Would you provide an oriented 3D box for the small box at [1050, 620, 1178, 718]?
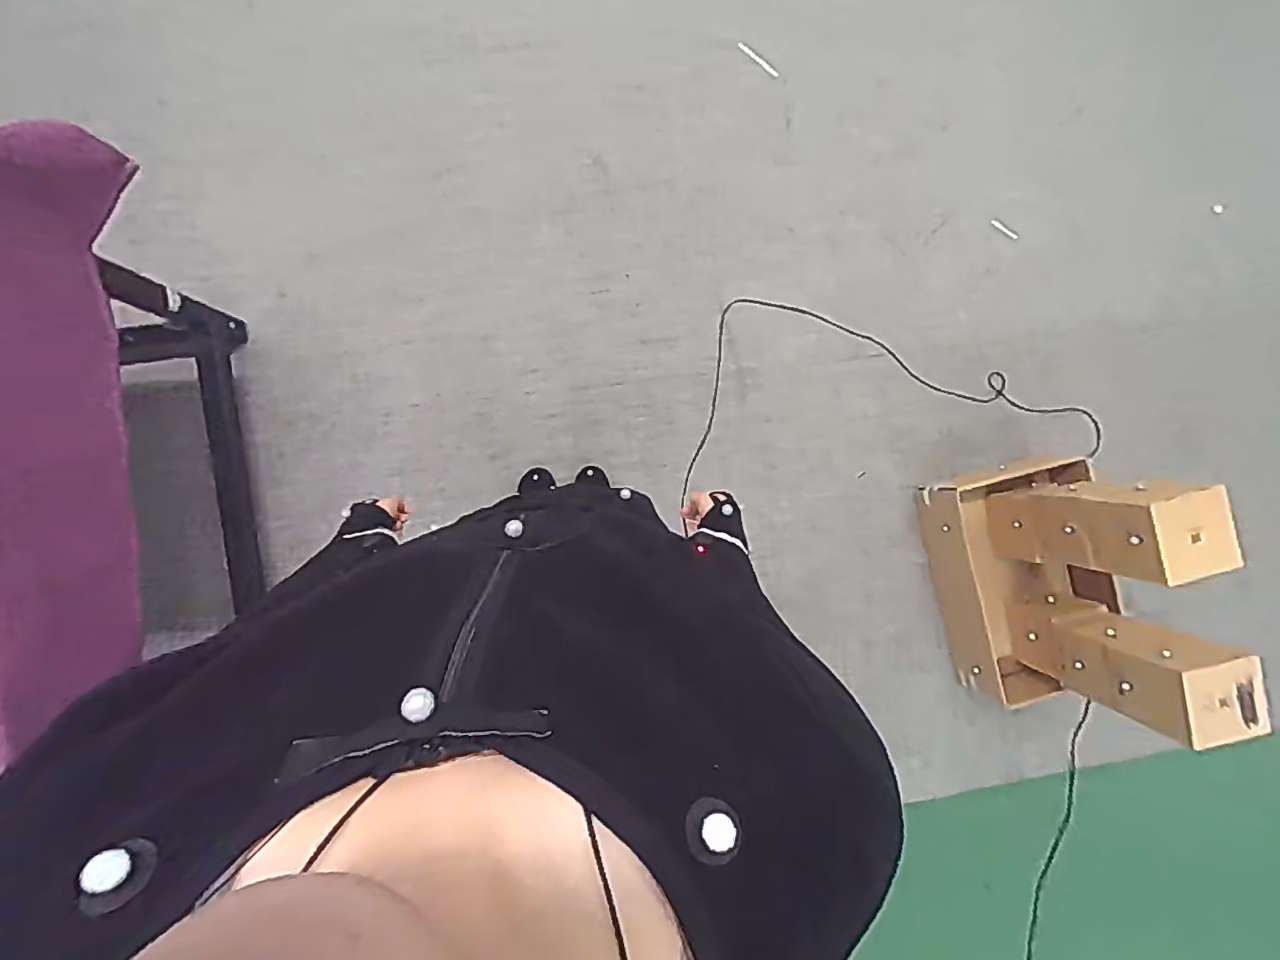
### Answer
[{"bbox_3d":[1.164,0.461,1.344,0.179,0.176,0.168,-10,92,-5],"label":"small box"}]

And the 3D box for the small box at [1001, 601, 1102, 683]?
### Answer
[{"bbox_3d":[1.149,0.445,1.508,0.168,0.176,0.179,-10,91,-5],"label":"small box"}]

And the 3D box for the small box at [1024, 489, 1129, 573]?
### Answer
[{"bbox_3d":[1.091,0.119,1.337,0.168,0.176,0.179,-10,93,-3],"label":"small box"}]

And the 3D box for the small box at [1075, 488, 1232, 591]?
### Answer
[{"bbox_3d":[1.104,0.122,1.175,0.168,0.176,0.179,-15,91,-3],"label":"small box"}]
